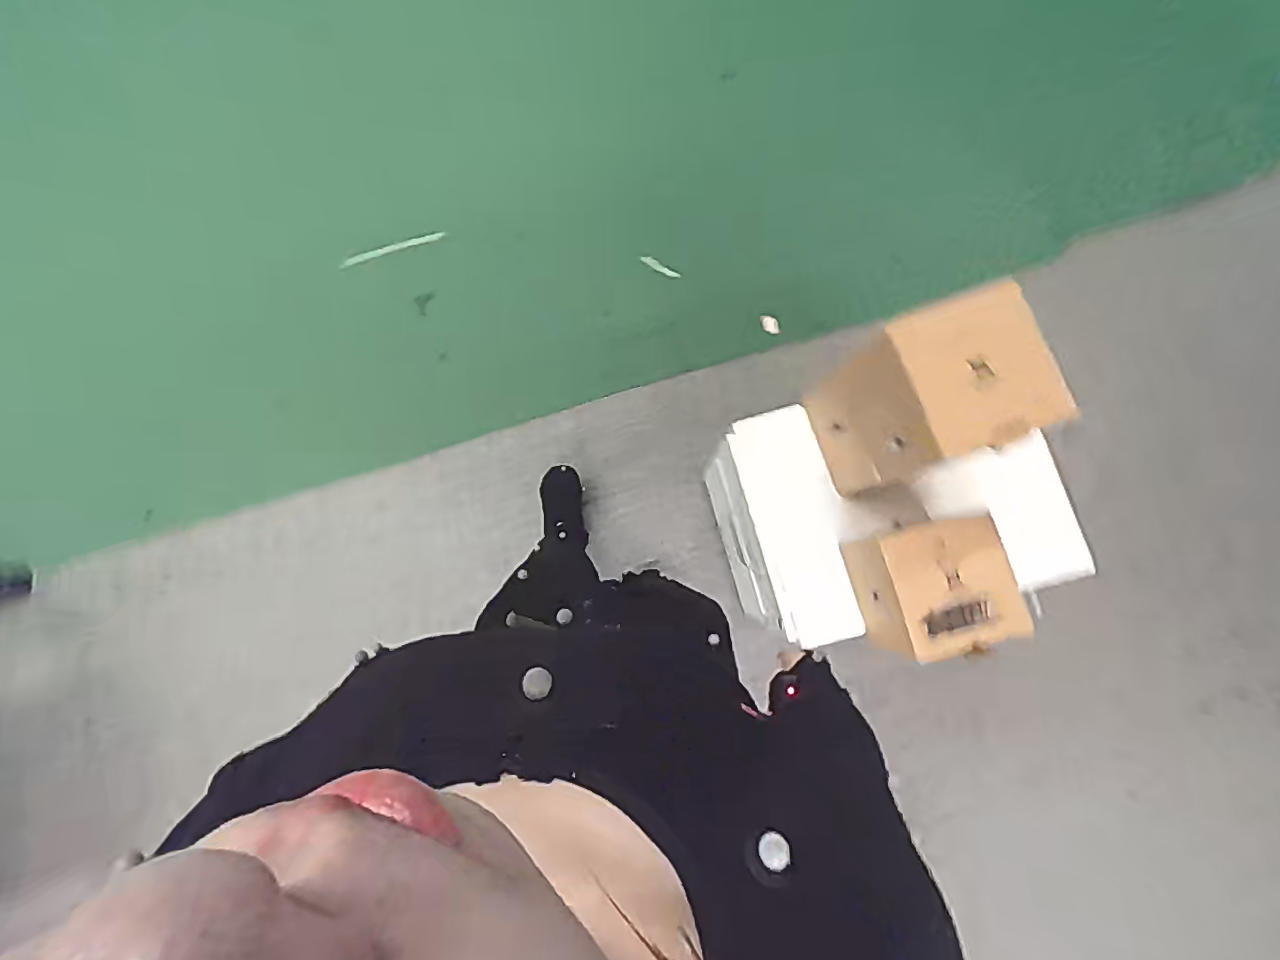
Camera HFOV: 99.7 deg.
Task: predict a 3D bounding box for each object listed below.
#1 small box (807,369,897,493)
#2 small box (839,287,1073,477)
[{"bbox_3d":[0.387,-0.090,0.860,0.168,0.176,0.179,-19,83,-1],"label":"small box"},{"bbox_3d":[0.387,-0.110,0.698,0.168,0.176,0.179,-20,83,-3],"label":"small box"}]
